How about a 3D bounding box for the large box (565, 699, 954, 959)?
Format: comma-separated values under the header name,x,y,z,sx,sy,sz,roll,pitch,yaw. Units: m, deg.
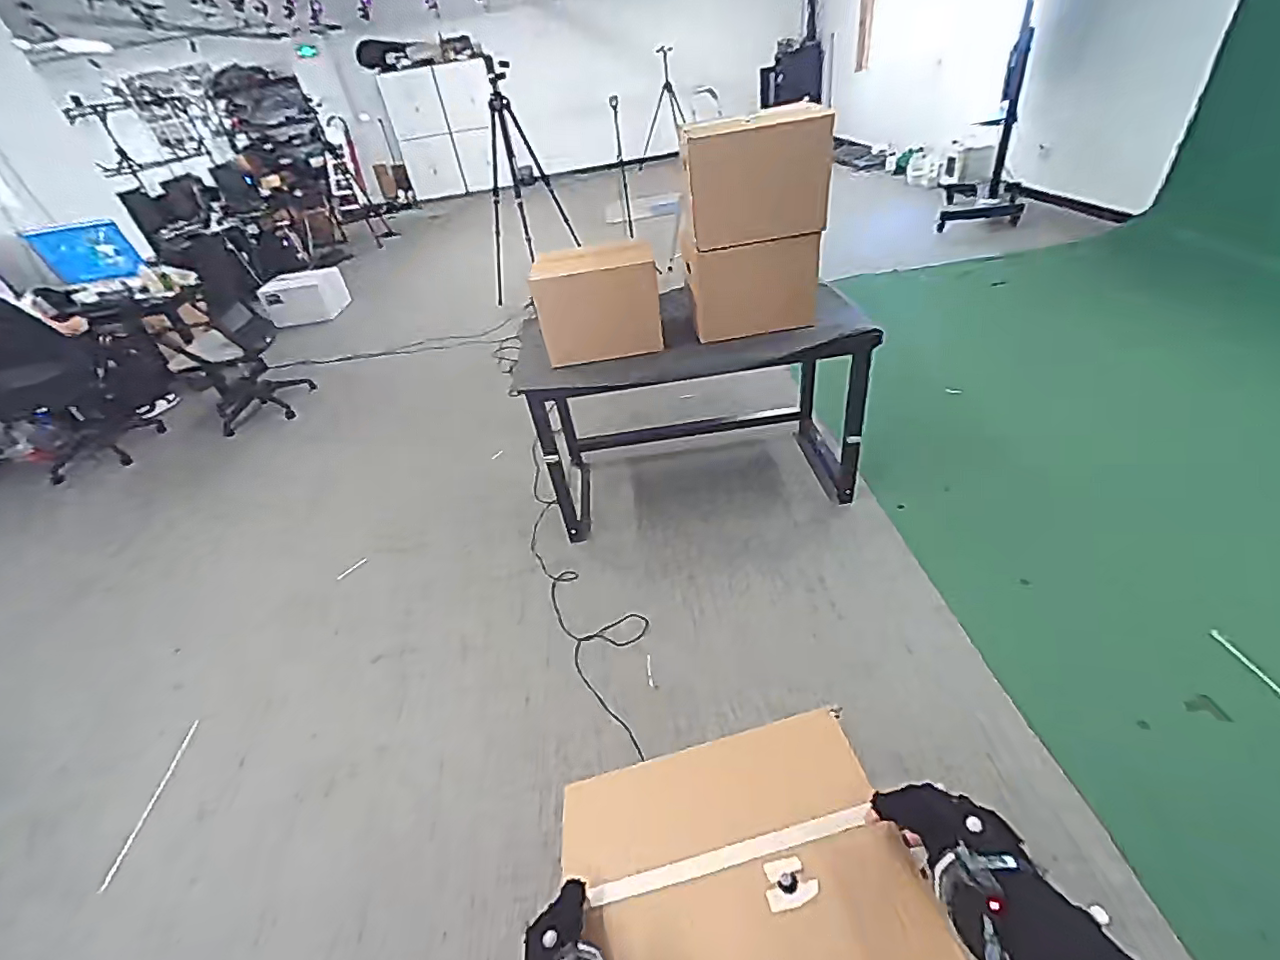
name,x,y,z,sx,sy,sz,roll,pitch,yaw
large box,0.138,0.571,0.721,0.408,0.320,0.320,-17,27,1
